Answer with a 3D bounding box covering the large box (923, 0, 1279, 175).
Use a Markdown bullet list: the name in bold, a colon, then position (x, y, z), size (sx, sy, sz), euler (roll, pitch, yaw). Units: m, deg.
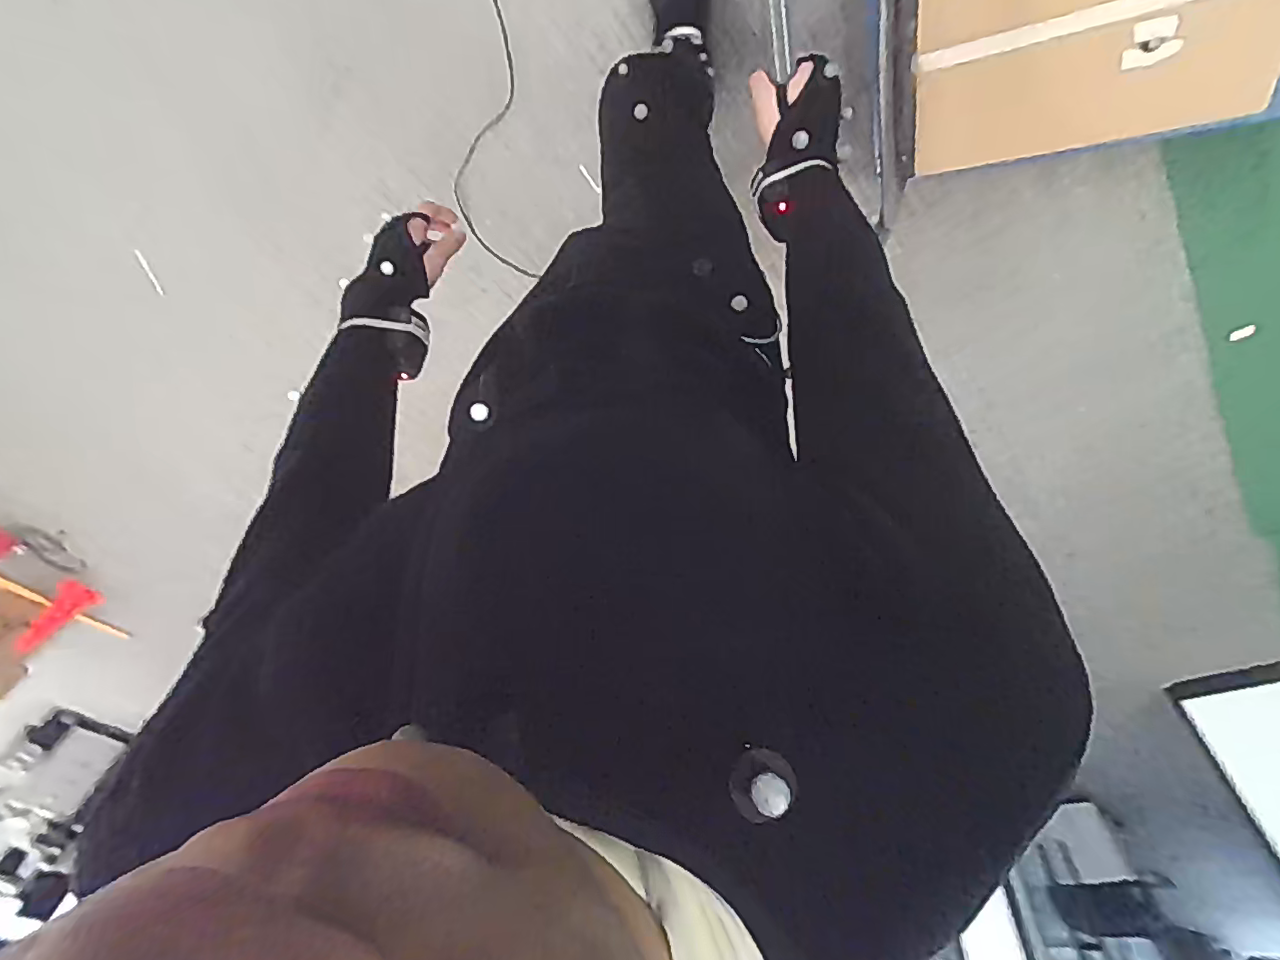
- **large box**: position (0.636, -0.691, 0.778), size (0.408, 0.320, 0.320), euler (3, 135, 27)
